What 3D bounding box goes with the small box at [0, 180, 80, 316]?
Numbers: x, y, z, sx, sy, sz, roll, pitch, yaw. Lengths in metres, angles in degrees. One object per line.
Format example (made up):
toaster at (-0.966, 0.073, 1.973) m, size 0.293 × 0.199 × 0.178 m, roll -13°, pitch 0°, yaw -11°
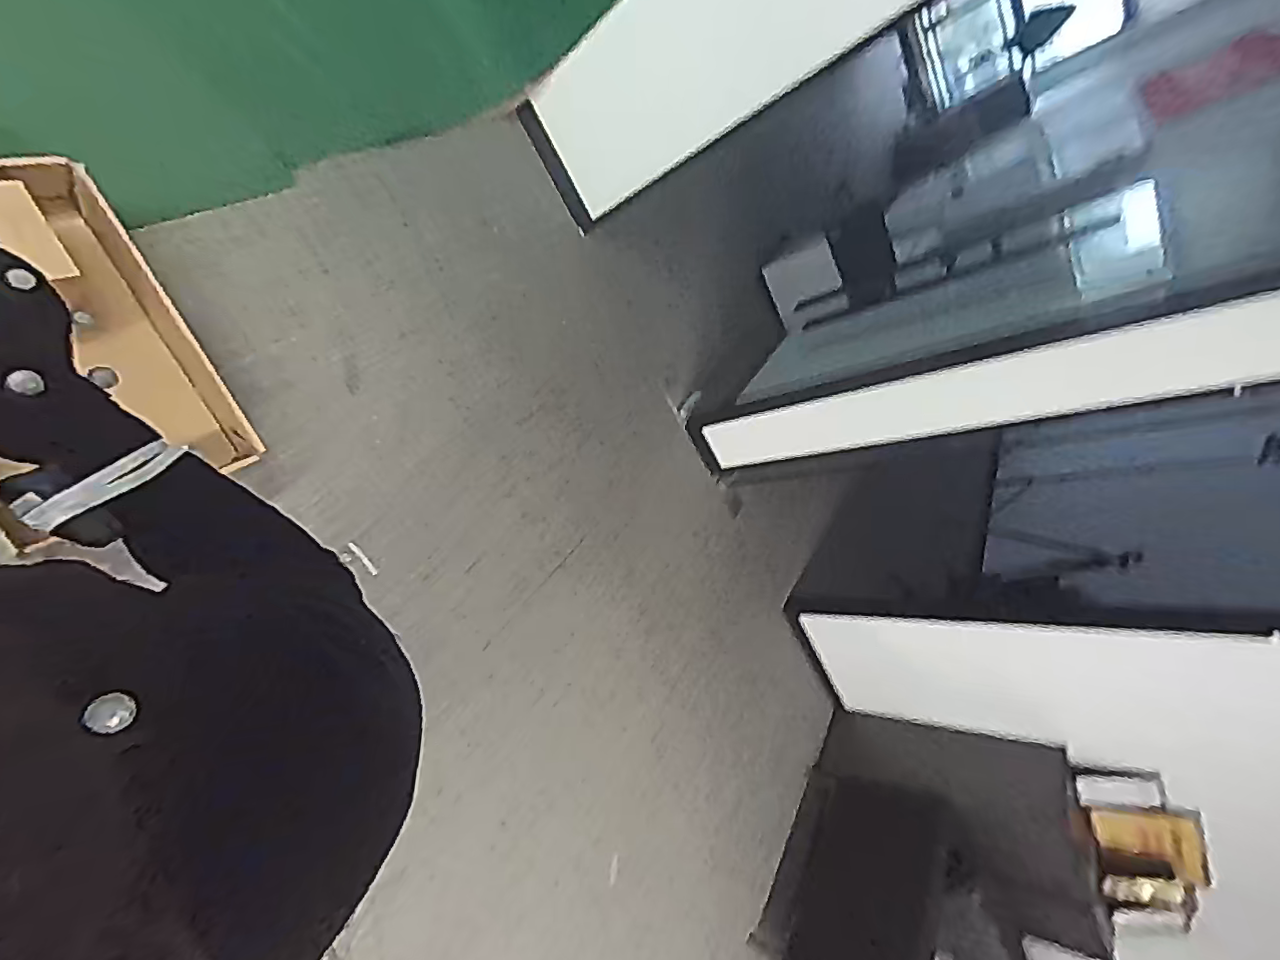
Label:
small box at (-1.127, -0.391, 0.933) m, size 0.179 × 0.176 × 0.168 m, roll -37°, pitch 112°, yaw -43°
